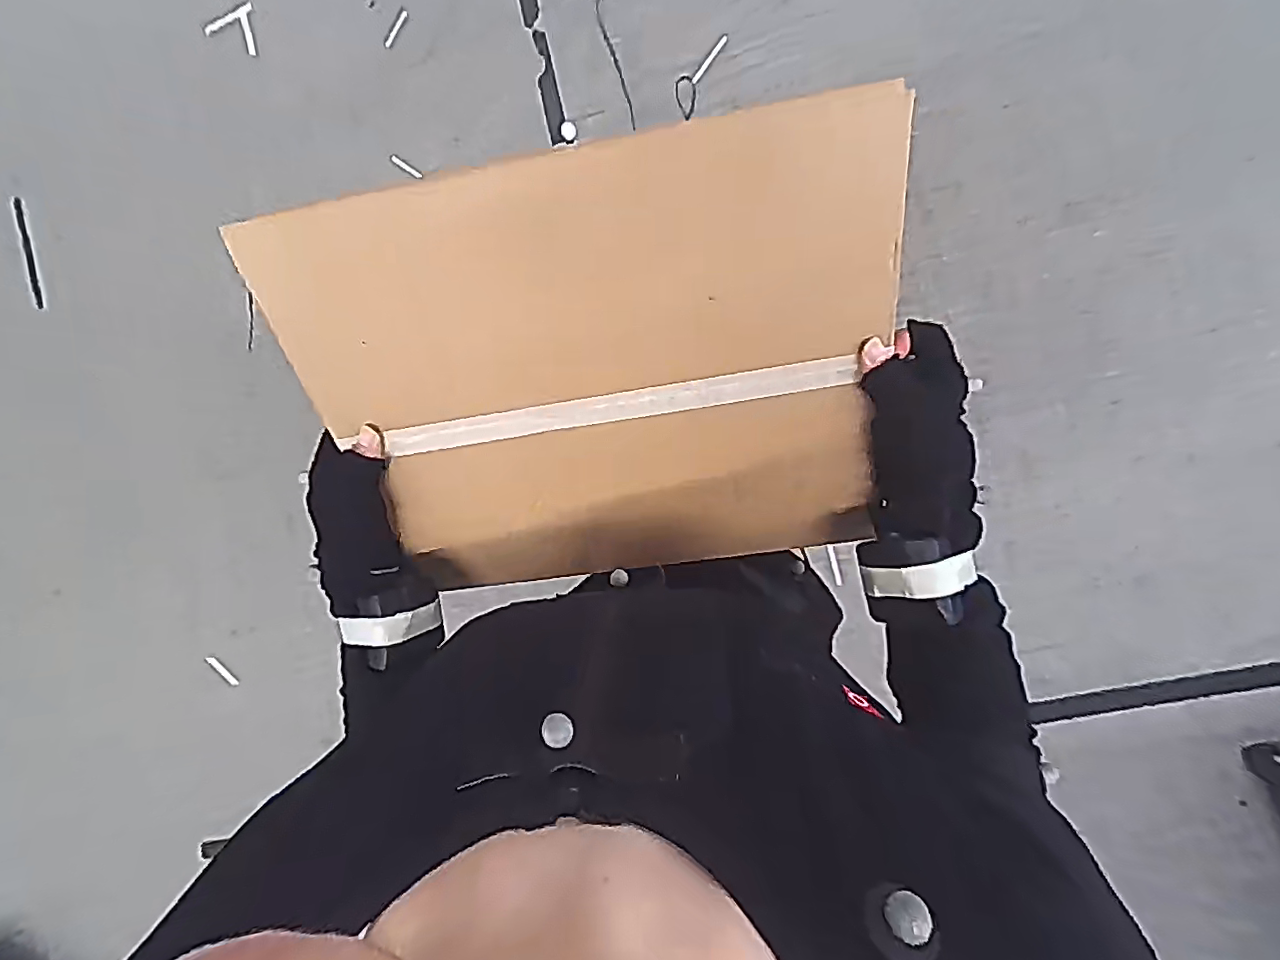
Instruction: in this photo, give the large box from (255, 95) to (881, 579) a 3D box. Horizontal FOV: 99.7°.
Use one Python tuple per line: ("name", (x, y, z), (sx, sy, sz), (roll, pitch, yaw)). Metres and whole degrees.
("large box", (-0.025, -0.142, 0.528), (0.408, 0.320, 0.320), (-8, 123, 7))
